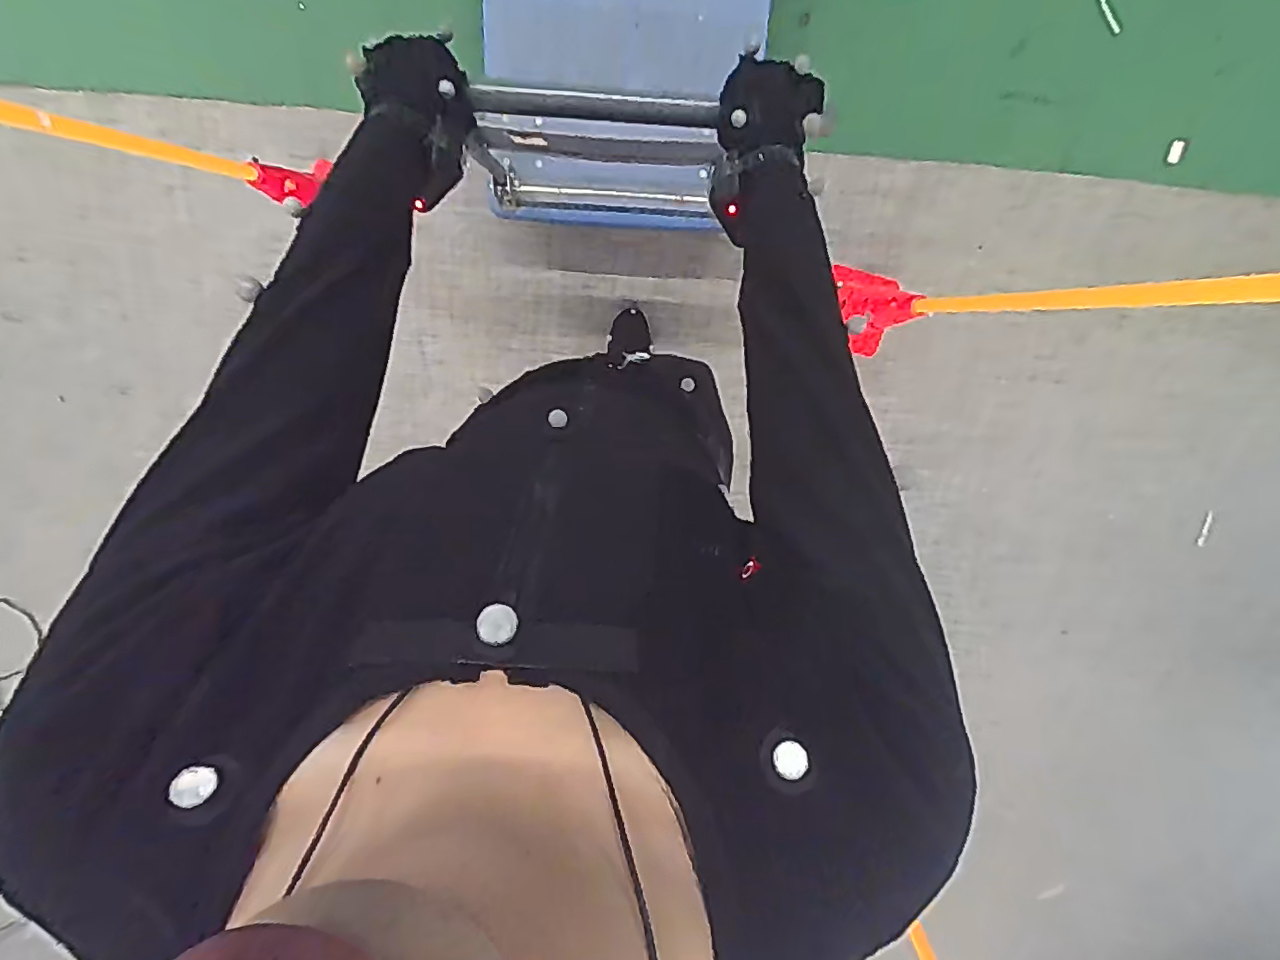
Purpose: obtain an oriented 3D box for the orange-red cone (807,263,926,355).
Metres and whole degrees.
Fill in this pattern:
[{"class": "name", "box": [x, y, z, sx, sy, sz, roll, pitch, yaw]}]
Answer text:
[{"class": "orange-red cone", "box": [0.549, -0.392, 1.234, 0.198, 0.360, 0.199, 15, 106, -4]}]
